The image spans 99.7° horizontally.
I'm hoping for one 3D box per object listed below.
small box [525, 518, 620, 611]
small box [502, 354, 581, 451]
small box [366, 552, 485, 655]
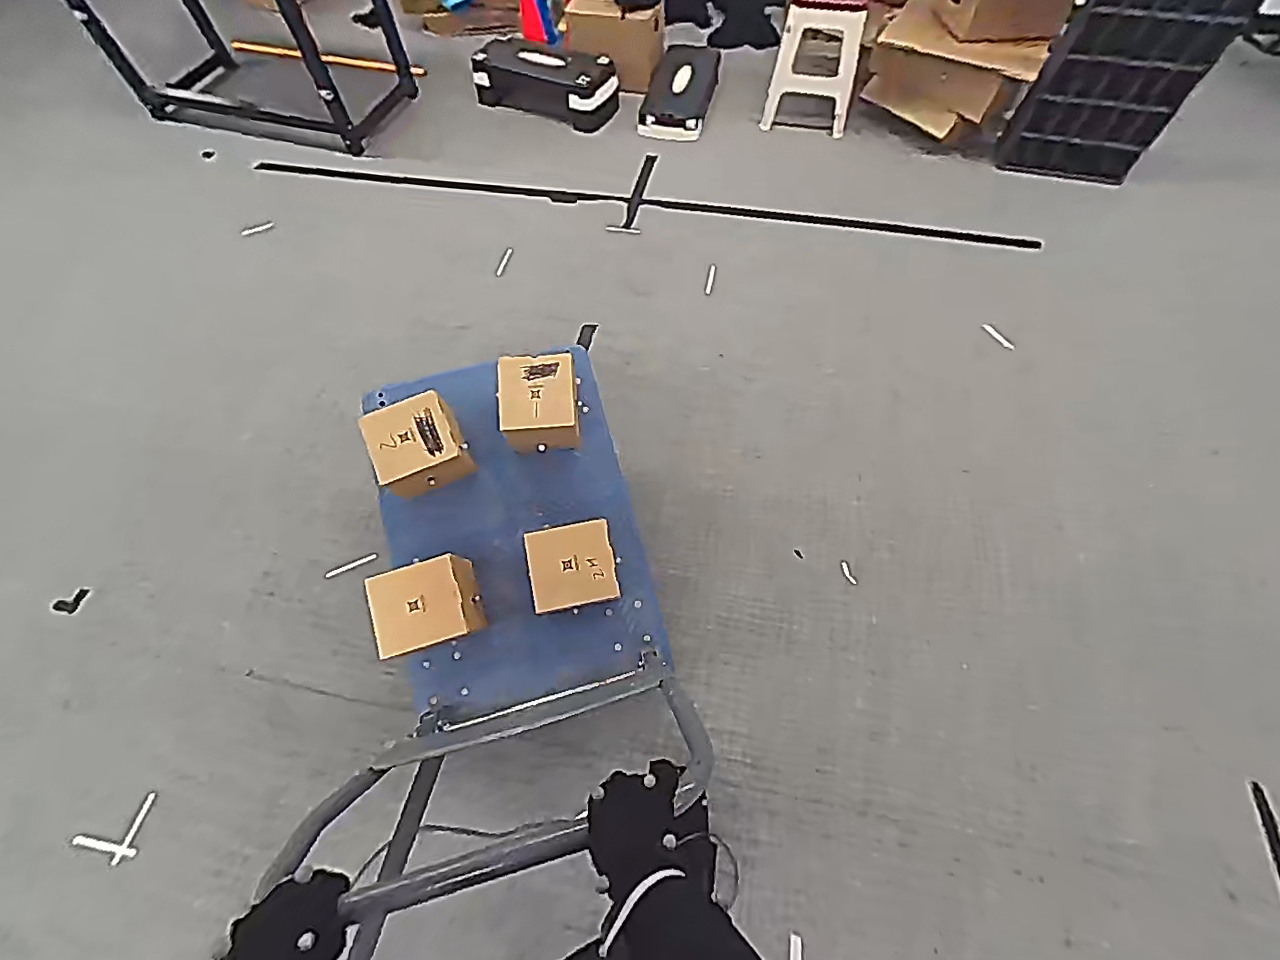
[{"bbox_3d":[-0.141,0.191,1.184,0.179,0.176,0.168,-10,77,-5],"label":"small box"},{"bbox_3d":[-0.227,-0.179,1.272,0.168,0.176,0.179,-3,77,-3],"label":"small box"},{"bbox_3d":[-0.449,0.264,1.152,0.179,0.176,0.168,-16,77,-8],"label":"small box"}]
